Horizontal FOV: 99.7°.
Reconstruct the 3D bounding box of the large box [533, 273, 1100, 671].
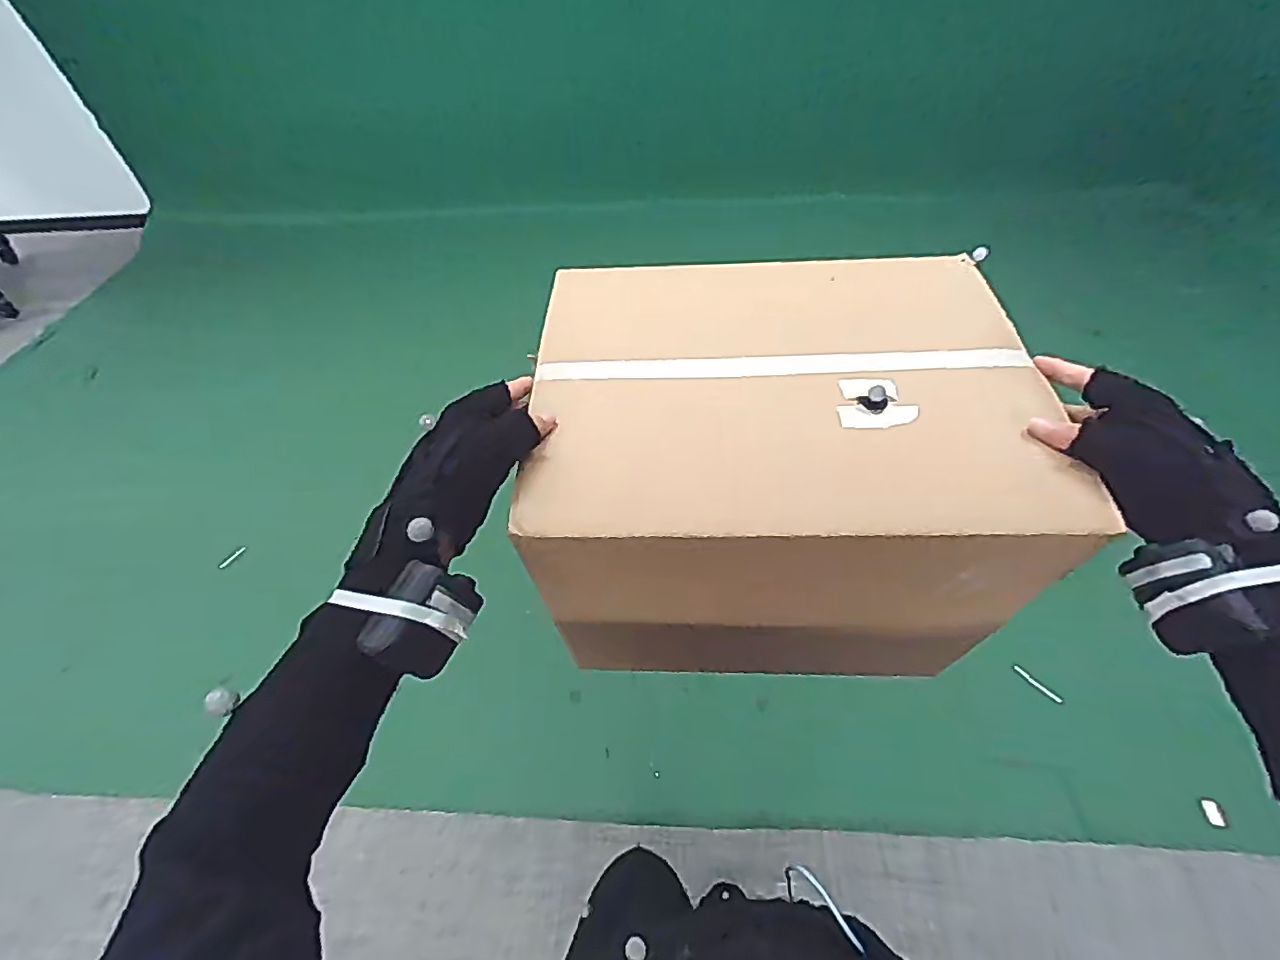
[{"bbox_3d":[0.126,0.005,0.583,0.408,0.320,0.320,0,54,3],"label":"large box"}]
